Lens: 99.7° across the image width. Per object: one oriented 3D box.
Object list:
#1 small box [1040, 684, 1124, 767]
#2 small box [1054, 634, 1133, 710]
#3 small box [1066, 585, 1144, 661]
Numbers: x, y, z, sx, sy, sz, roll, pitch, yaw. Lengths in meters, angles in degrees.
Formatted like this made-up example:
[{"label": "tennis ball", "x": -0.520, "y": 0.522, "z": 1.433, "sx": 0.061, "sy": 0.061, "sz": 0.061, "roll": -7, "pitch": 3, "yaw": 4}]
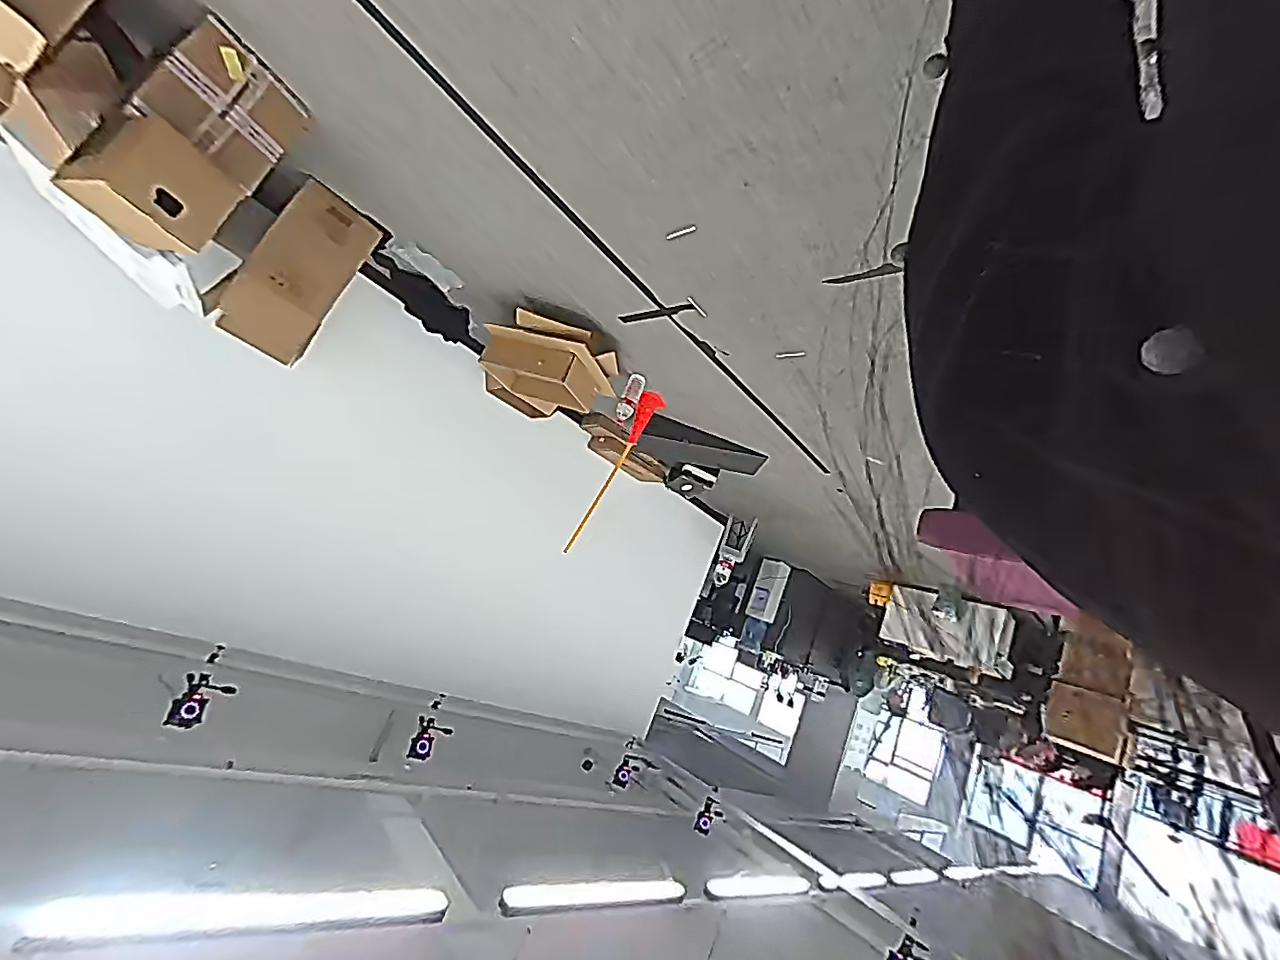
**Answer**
[{"label": "small box", "x": 1.329, "y": 0.730, "z": 1.623, "sx": 0.168, "sy": 0.176, "sz": 0.179, "roll": 8, "pitch": 161, "yaw": 48}, {"label": "small box", "x": 1.406, "y": 0.595, "z": 1.674, "sx": 0.168, "sy": 0.176, "sz": 0.179, "roll": 8, "pitch": 160, "yaw": 45}, {"label": "small box", "x": 1.468, "y": 0.447, "z": 1.708, "sx": 0.168, "sy": 0.176, "sz": 0.179, "roll": 9, "pitch": 161, "yaw": 45}]
